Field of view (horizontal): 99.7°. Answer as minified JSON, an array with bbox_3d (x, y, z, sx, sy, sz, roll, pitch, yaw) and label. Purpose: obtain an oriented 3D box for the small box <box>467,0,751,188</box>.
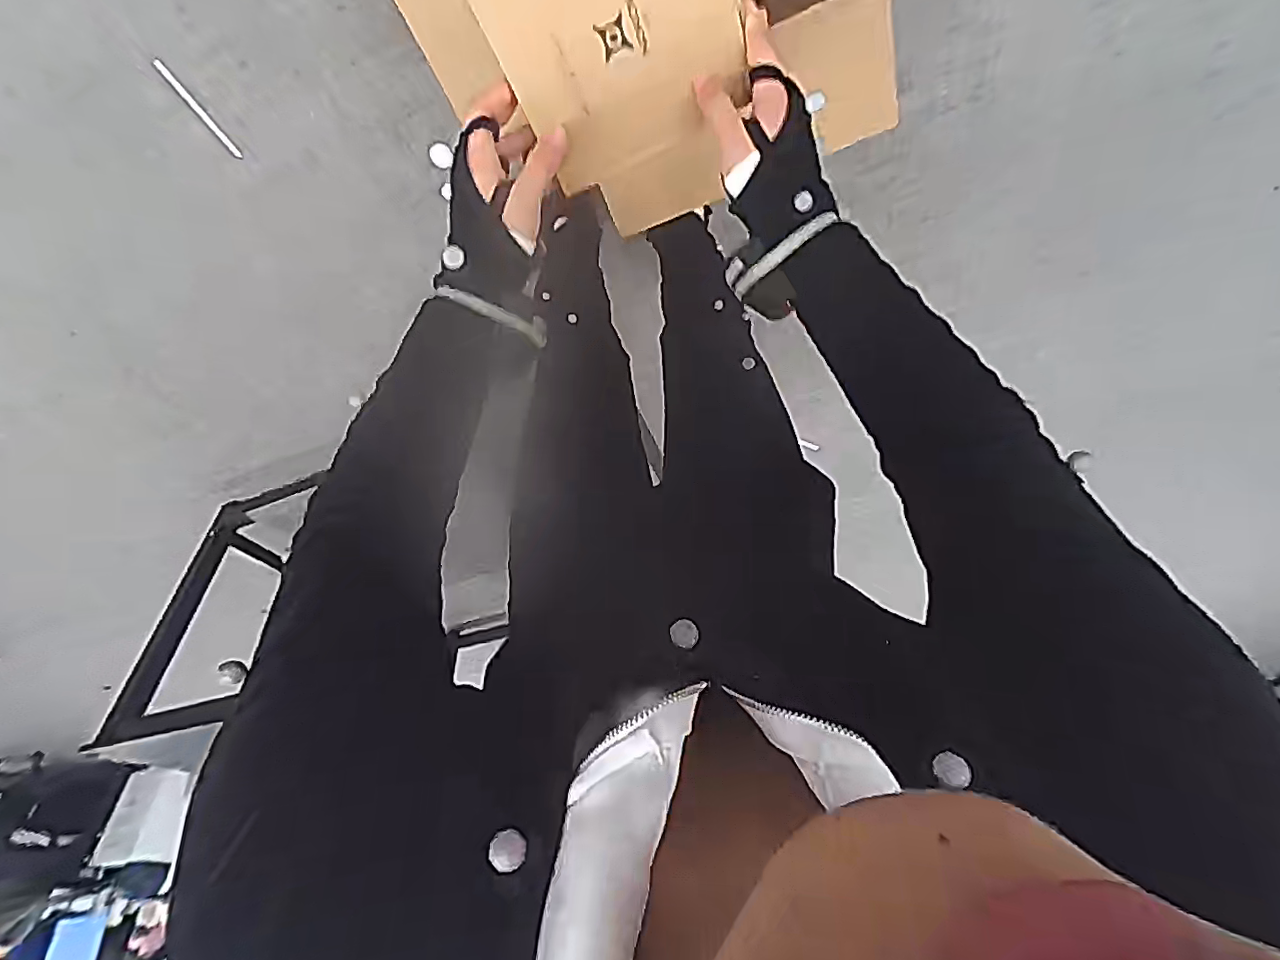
[{"bbox_3d":[-0.028,-0.390,0.449,0.179,0.176,0.168,-19,137,15],"label":"small box"}]
